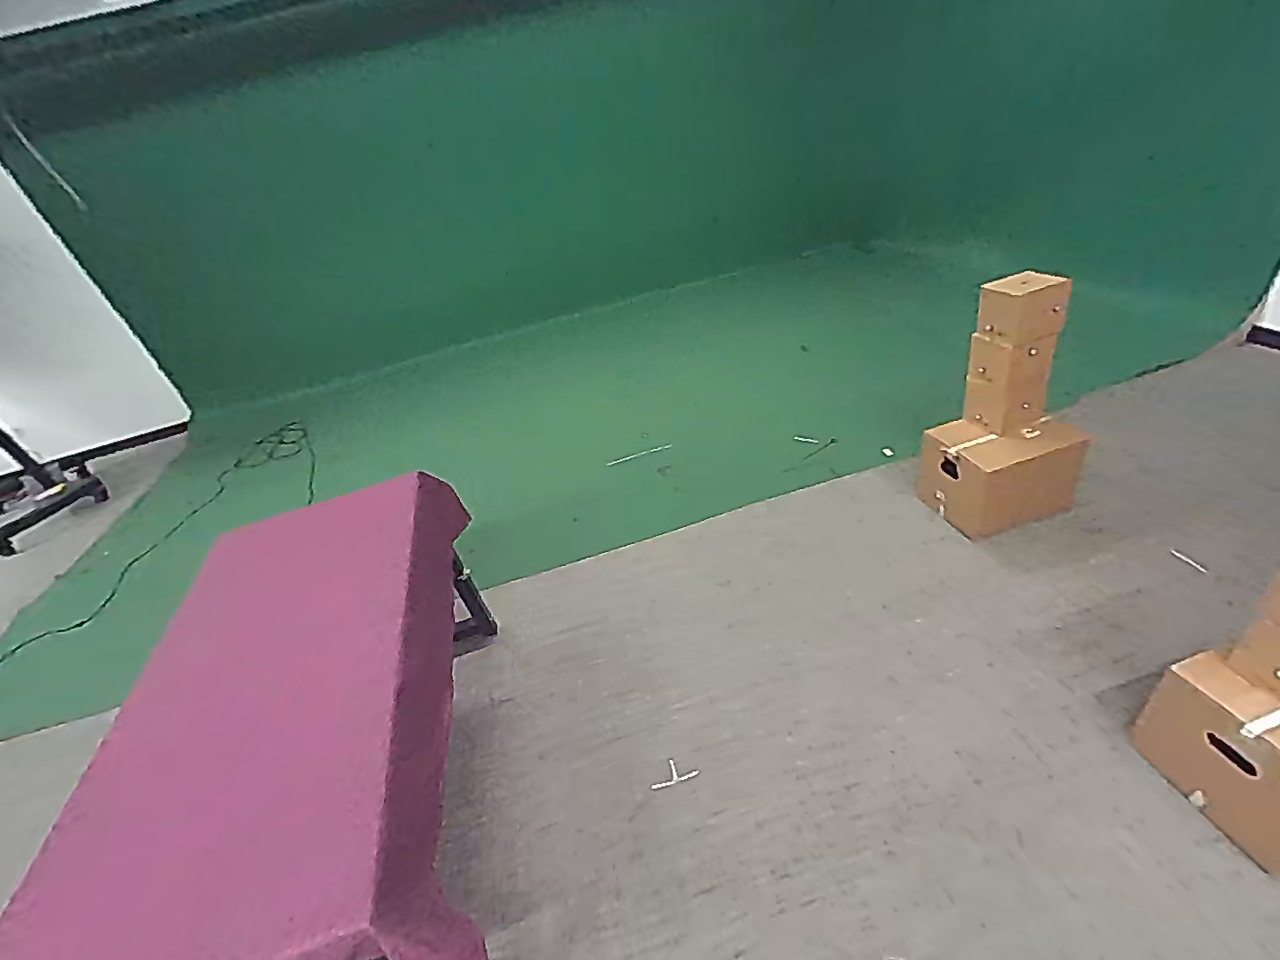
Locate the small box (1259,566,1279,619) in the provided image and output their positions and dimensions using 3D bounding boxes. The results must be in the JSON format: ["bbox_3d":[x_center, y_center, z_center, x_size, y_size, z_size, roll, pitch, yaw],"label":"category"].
[{"bbox_3d":[1.295,0.199,0.961,0.168,0.176,0.179,-20,34,-8],"label":"small box"}]

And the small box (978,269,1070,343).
[{"bbox_3d":[1.233,-0.564,1.753,0.179,0.176,0.168,-18,31,-3],"label":"small box"}]

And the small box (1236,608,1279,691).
[{"bbox_3d":[1.335,0.331,1.053,0.179,0.176,0.168,-21,34,-7],"label":"small box"}]

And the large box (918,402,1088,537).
[{"bbox_3d":[1.315,-0.044,1.999,0.408,0.320,0.320,-17,34,-6],"label":"large box"}]

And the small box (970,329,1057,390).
[{"bbox_3d":[1.262,-0.430,1.843,0.179,0.176,0.168,-19,32,-5],"label":"small box"}]
